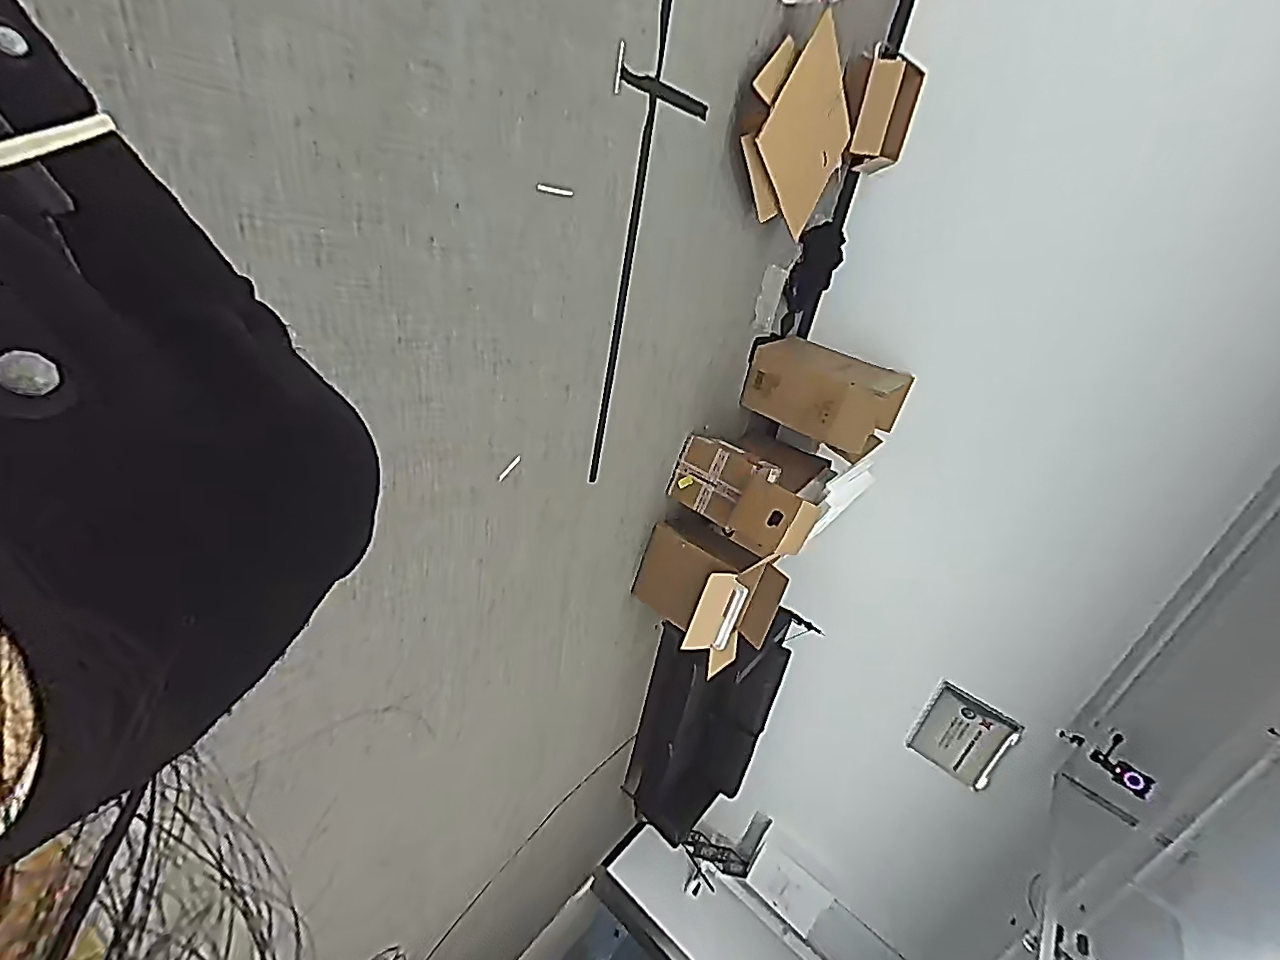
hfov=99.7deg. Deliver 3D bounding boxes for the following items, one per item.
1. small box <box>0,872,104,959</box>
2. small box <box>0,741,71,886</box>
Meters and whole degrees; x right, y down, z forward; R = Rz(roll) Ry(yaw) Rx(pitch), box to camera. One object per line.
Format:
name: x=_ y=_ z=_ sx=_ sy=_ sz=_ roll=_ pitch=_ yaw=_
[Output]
small box: x=-0.925 y=0.748 z=0.800 sx=0.179 sy=0.176 sz=0.168 roll=-18 pitch=129 yaw=-50
small box: x=-1.176 y=0.611 z=0.963 sx=0.179 sy=0.176 sz=0.168 roll=-22 pitch=130 yaw=-46
